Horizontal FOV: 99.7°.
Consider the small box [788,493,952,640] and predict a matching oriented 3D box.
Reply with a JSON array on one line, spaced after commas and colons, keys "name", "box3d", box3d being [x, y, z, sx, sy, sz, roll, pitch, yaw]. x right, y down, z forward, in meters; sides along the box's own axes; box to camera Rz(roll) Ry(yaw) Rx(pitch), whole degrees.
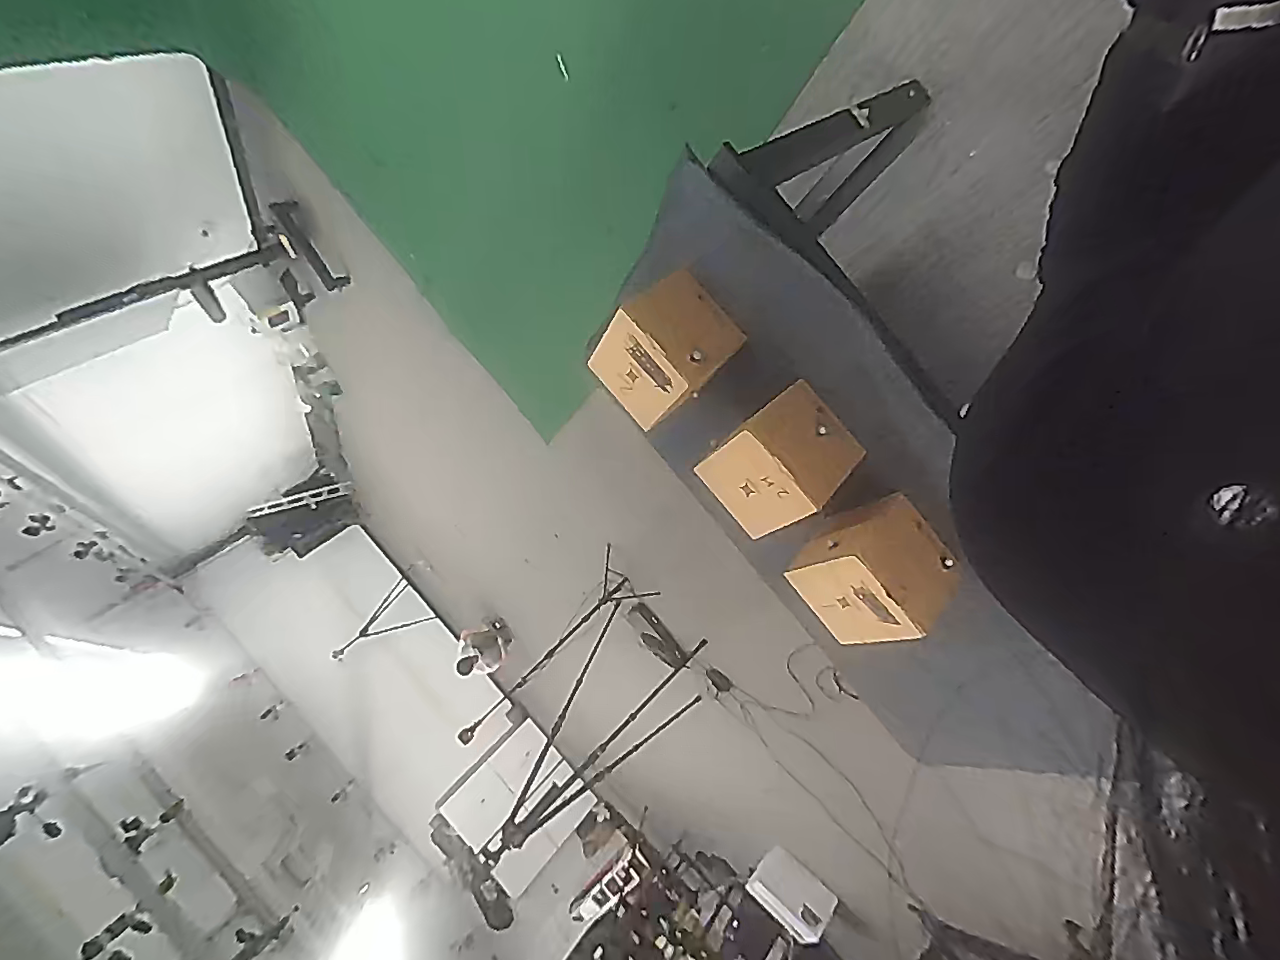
[{"name": "small box", "box3d": [0.395, 0.146, 0.917, 0.168, 0.176, 0.179, 50, 149, -1]}]

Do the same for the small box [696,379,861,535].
[{"name": "small box", "box3d": [0.235, -0.037, 0.916, 0.168, 0.176, 0.179, 49, 148, 0]}]
